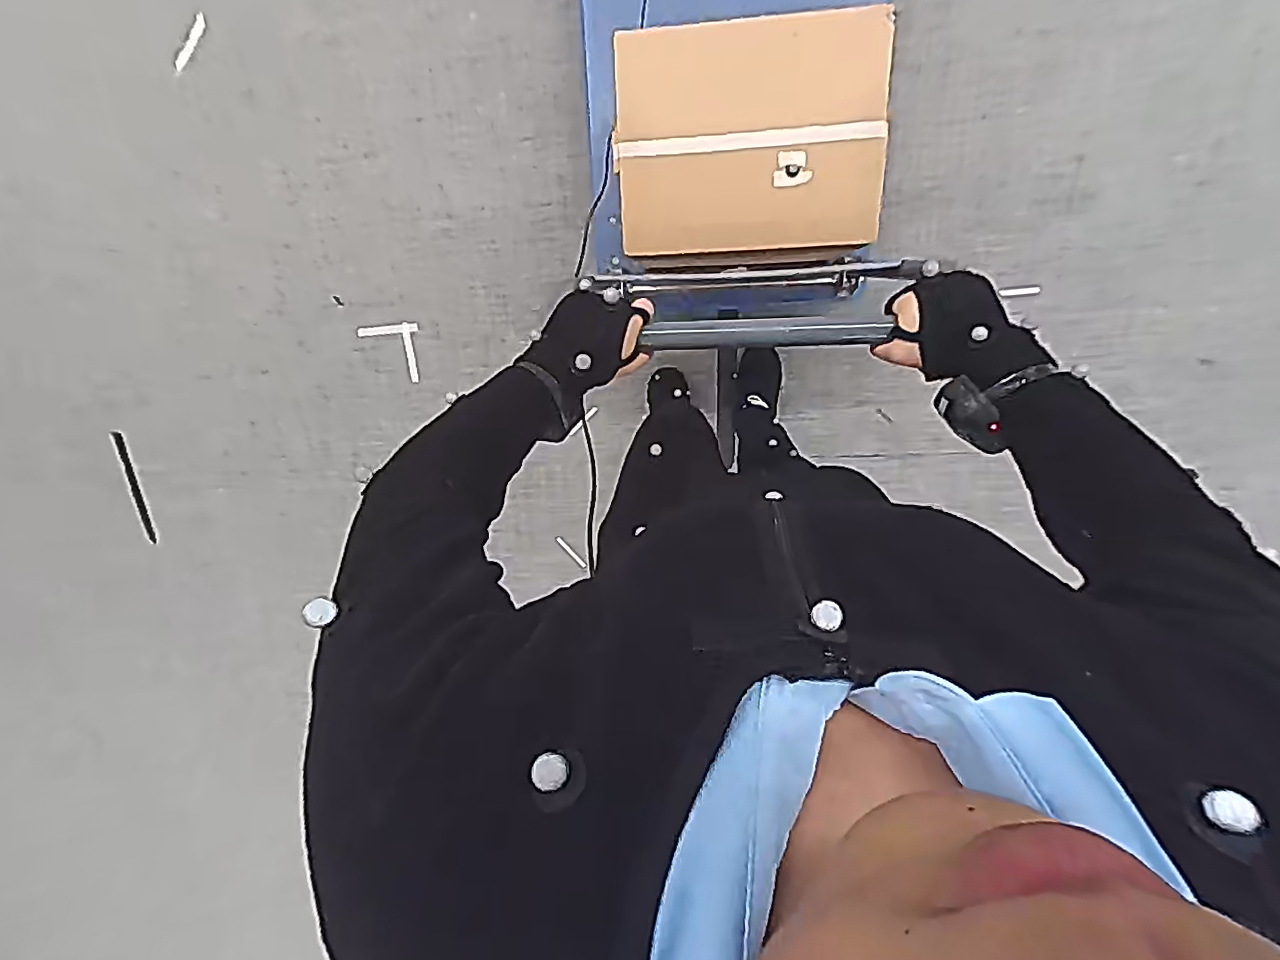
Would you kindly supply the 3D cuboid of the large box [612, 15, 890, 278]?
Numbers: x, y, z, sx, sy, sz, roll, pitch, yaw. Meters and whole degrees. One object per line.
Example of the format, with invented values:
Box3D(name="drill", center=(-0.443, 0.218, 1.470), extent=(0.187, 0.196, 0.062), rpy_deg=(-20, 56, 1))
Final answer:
Box3D(name="large box", center=(0.177, -0.547, 0.966), extent=(0.408, 0.320, 0.320), rpy_deg=(-1, 108, 6))
